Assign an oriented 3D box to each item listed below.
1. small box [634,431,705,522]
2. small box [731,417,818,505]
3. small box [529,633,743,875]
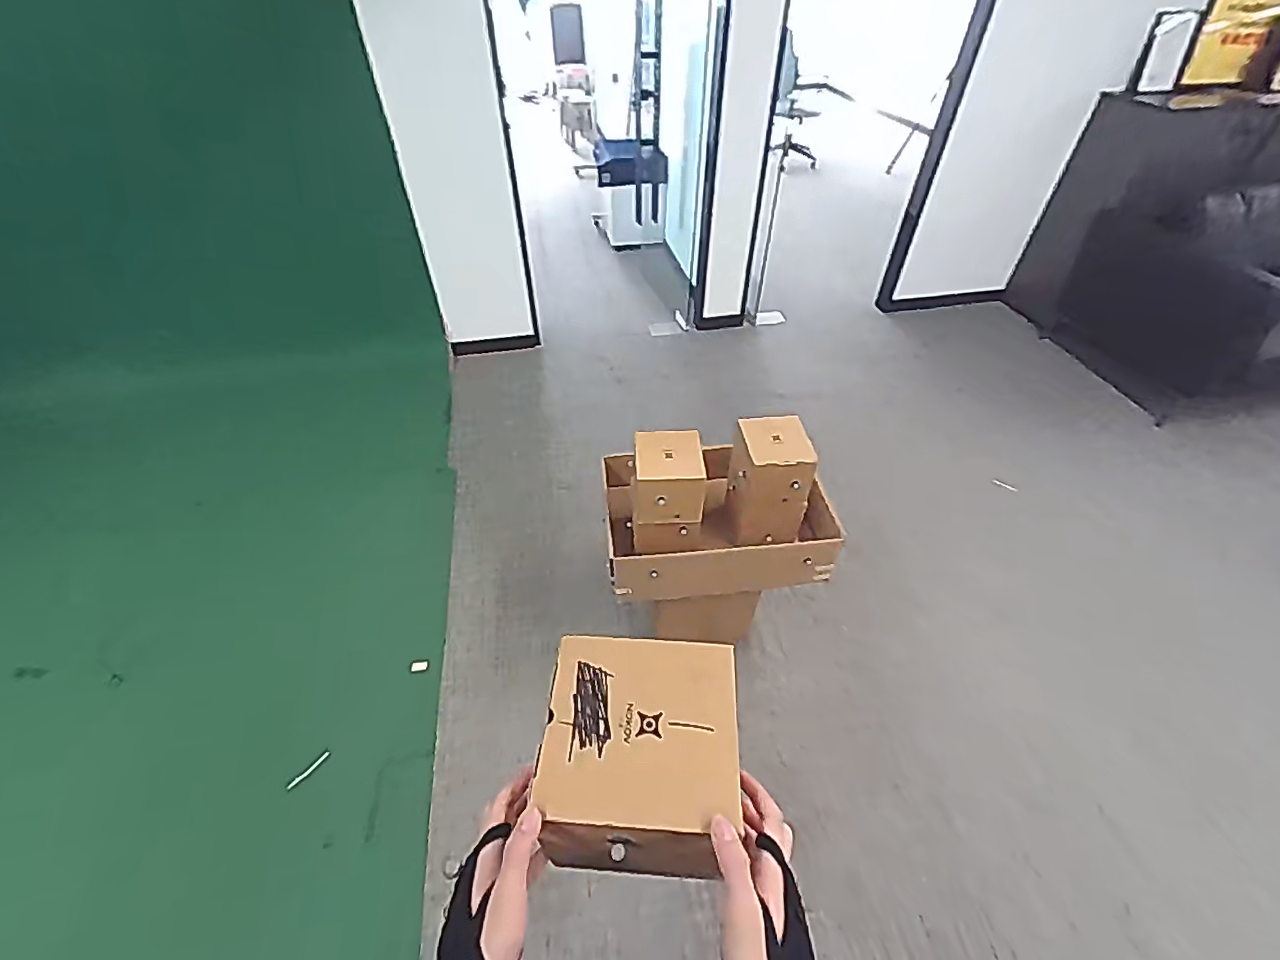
[{"bbox_3d":[0.070,-0.005,1.379,0.168,0.176,0.179,-2,45,-2],"label":"small box"},{"bbox_3d":[0.344,-0.045,1.418,0.168,0.176,0.179,-3,45,-5],"label":"small box"},{"bbox_3d":[0.004,0.274,0.541,0.179,0.176,0.168,3,44,4],"label":"small box"}]
